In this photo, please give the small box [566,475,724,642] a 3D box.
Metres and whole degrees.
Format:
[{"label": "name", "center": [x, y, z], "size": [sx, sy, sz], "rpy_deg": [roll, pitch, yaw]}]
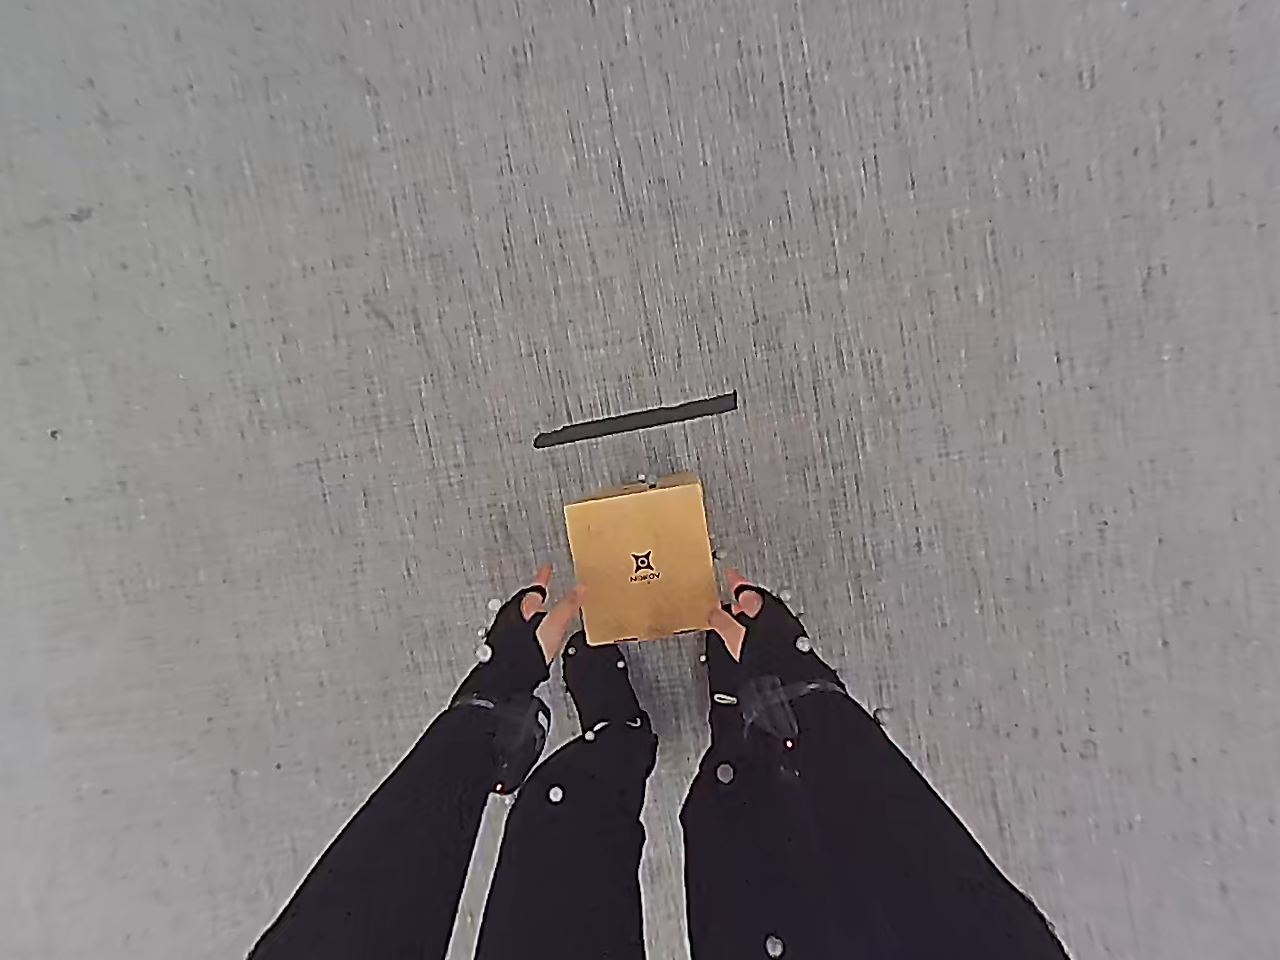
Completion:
[{"label": "small box", "center": [0.011, 0.090, 0.711], "size": [0.168, 0.176, 0.179], "rpy_deg": [-10, 94, 5]}]
